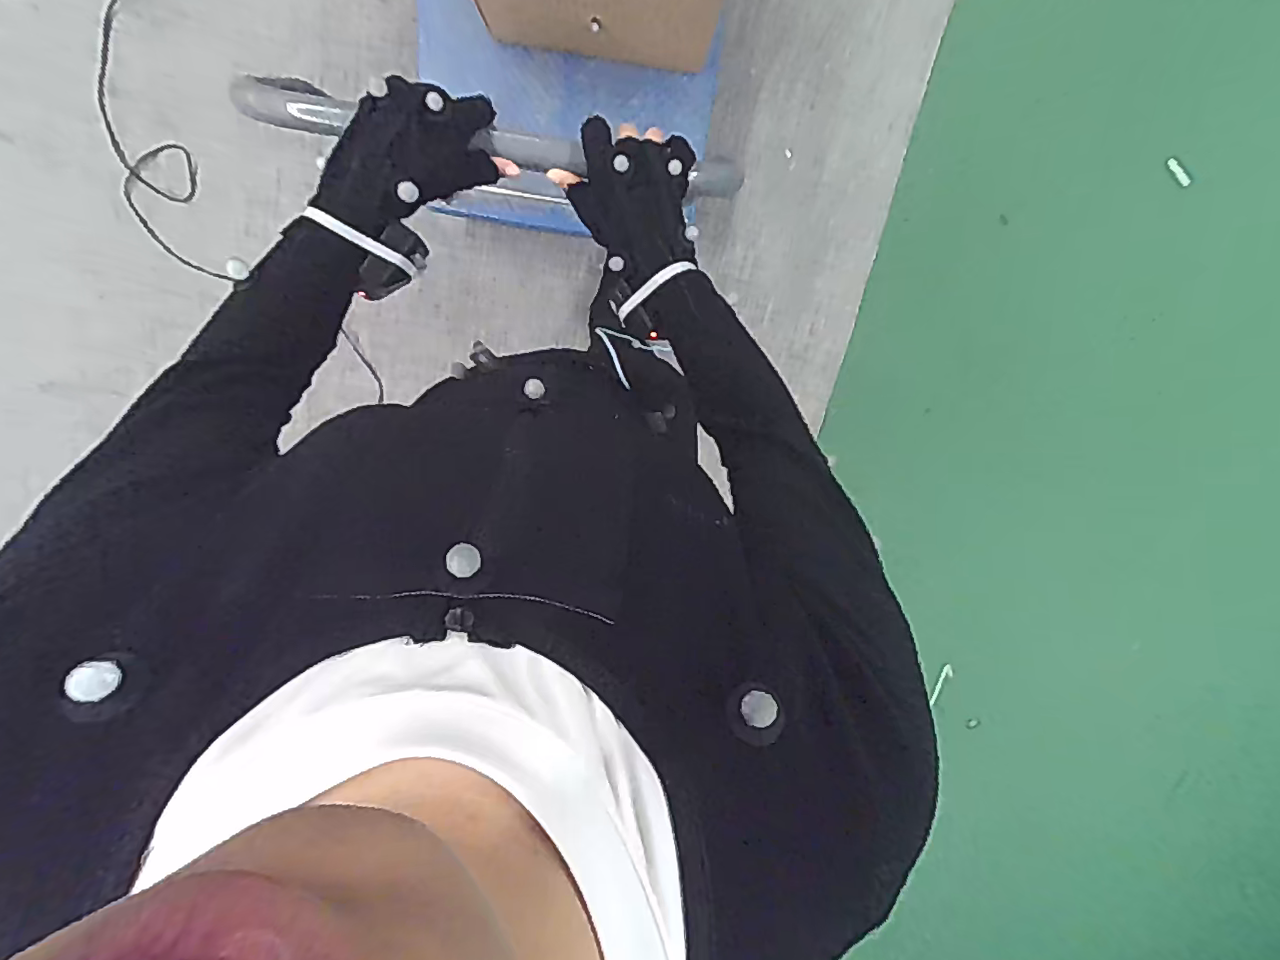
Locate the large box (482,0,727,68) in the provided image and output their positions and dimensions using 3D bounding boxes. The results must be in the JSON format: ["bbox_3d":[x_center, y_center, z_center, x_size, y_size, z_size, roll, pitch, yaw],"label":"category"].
[{"bbox_3d":[-0.051,-0.925,0.871,0.408,0.320,0.320,6,106,-3],"label":"large box"}]
